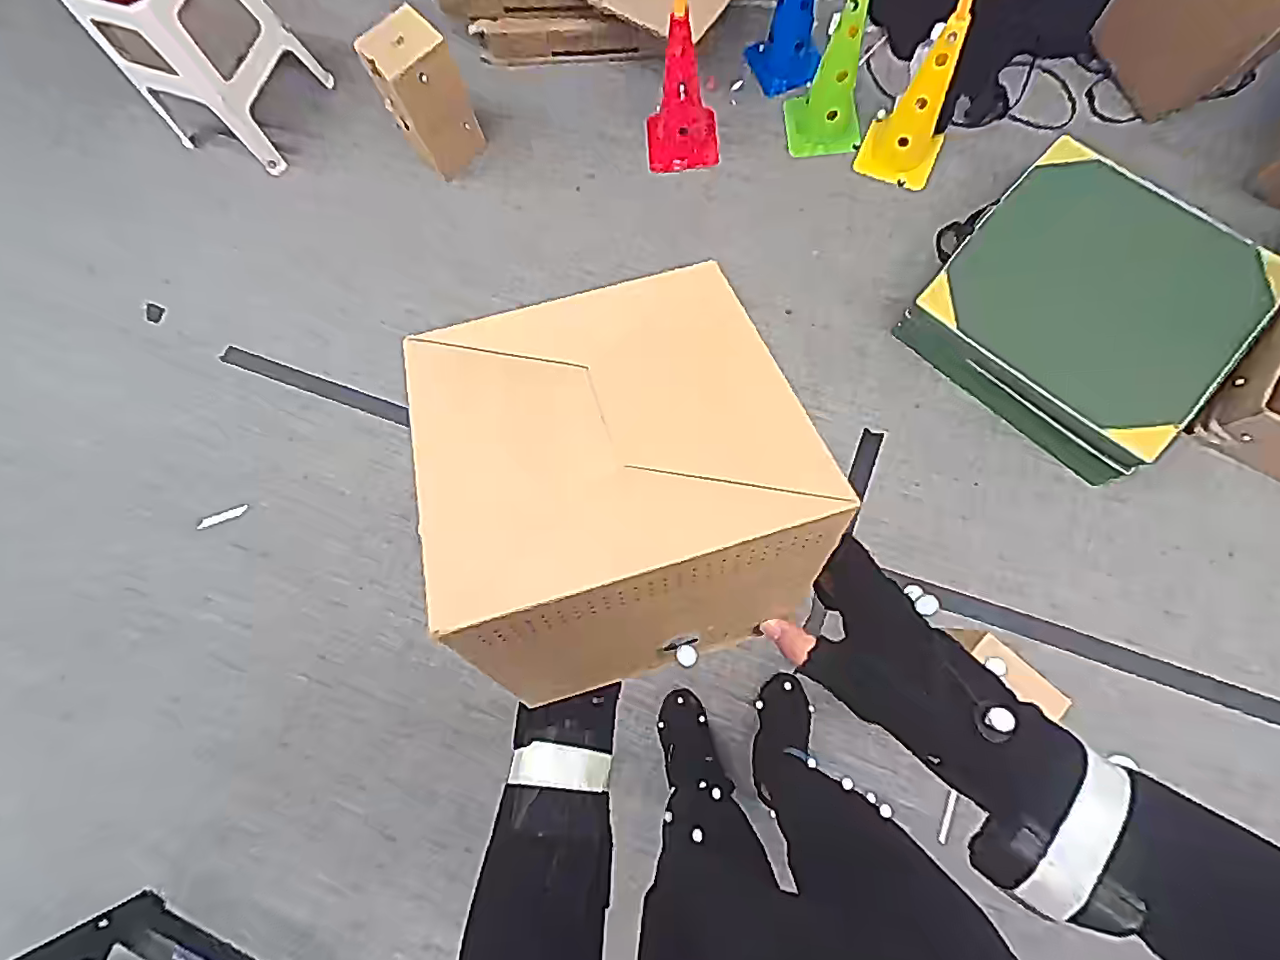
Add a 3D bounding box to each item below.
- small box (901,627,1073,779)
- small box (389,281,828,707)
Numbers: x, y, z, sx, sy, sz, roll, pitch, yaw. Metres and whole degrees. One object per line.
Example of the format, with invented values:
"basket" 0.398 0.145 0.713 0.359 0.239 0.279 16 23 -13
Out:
"small box" 0.601 0.385 0.969 0.168 0.176 0.179 43 84 11
"small box" -0.017 0.013 0.315 0.179 0.176 0.168 -16 60 -6
